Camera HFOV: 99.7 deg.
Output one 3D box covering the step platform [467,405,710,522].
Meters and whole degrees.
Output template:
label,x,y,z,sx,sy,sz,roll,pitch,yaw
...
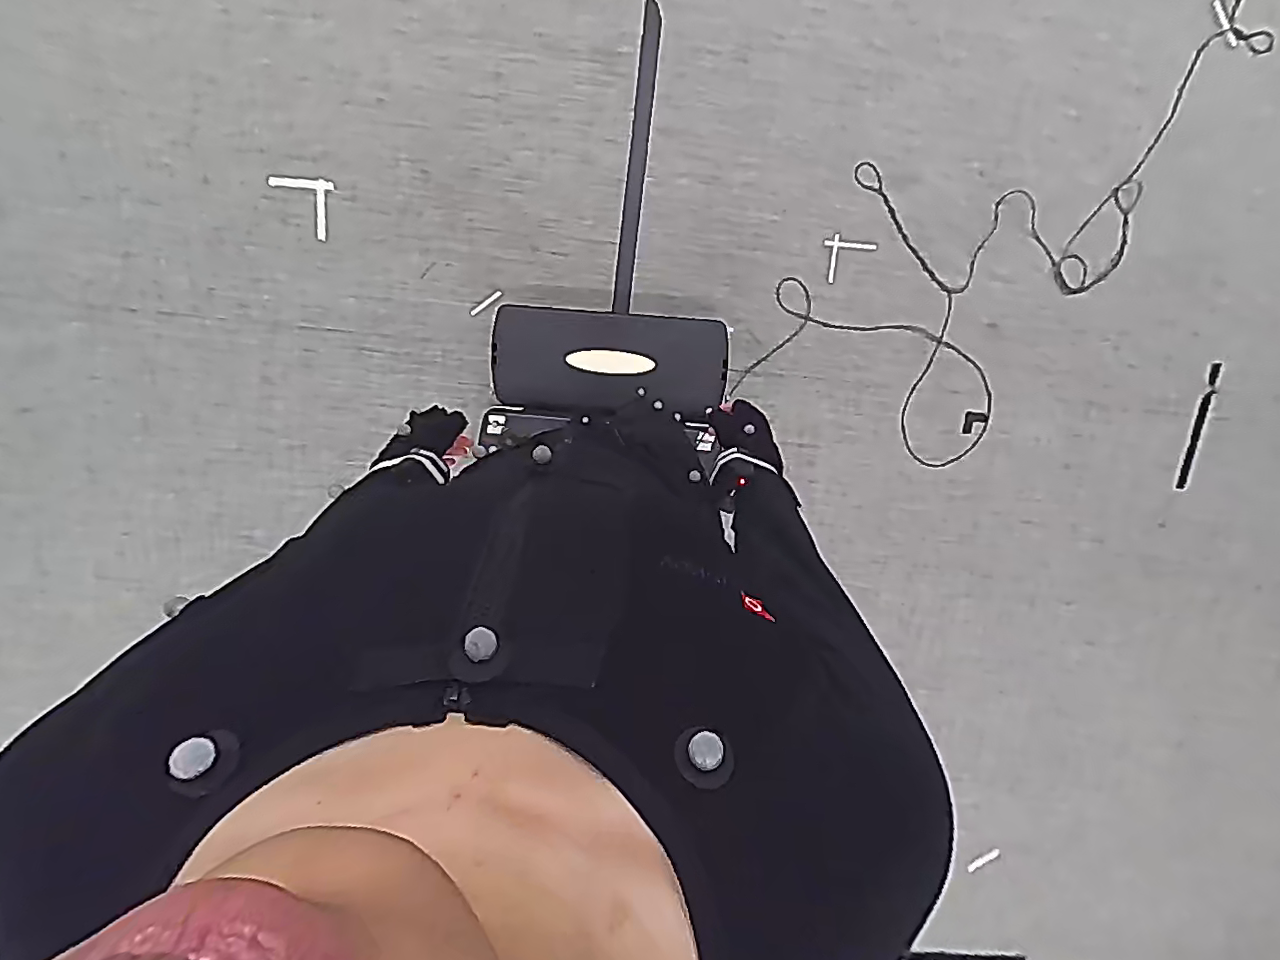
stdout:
label,x,y,z,sx,sy,sz,roll,pitch,yaw
step platform,-0.140,-0.048,1.557,0.684,0.204,0.286,4,99,-2
